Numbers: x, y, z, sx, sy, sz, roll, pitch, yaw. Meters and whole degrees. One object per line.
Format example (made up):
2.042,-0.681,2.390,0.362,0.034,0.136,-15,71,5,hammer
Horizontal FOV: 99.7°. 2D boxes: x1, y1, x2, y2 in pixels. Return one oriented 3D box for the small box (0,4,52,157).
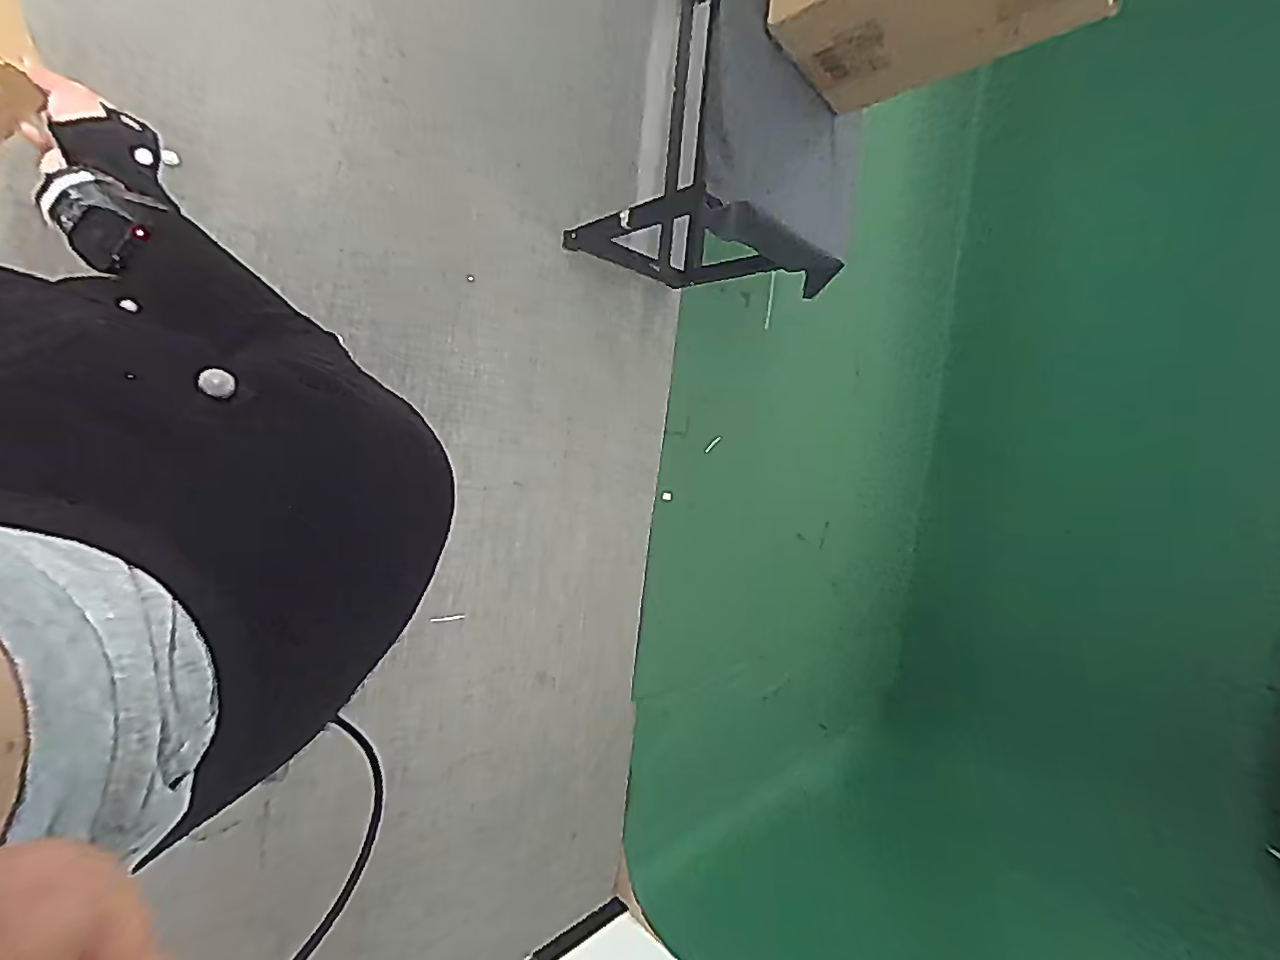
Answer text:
-0.627,-0.349,0.409,0.176,0.179,0.168,58,10,12,small box
